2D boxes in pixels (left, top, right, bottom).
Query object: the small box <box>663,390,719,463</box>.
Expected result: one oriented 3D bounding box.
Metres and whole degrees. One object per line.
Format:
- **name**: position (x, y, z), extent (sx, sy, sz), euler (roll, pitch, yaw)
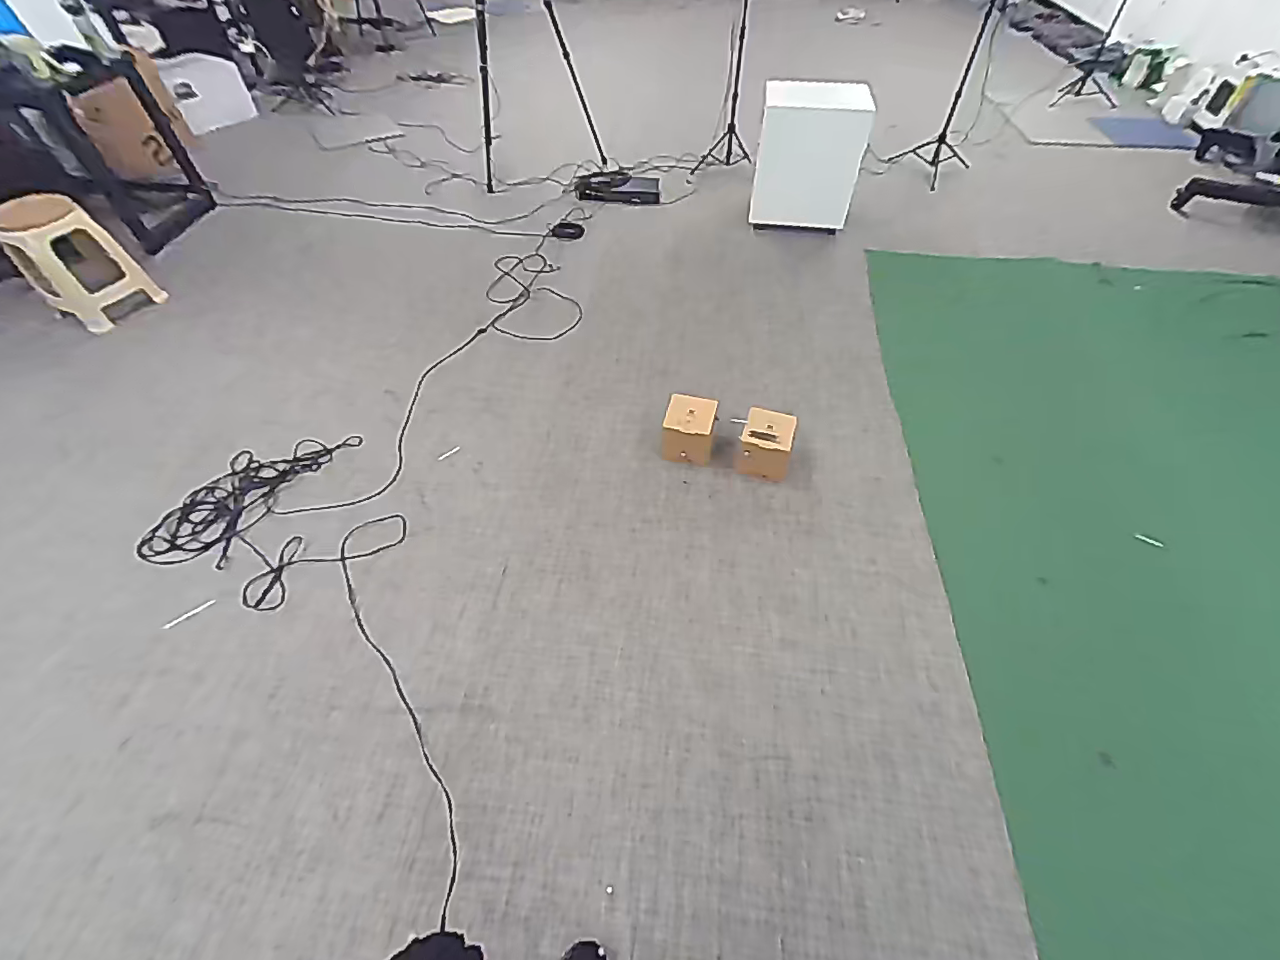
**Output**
- **small box**: position (0.178, -0.191, 1.934), extent (0.168, 0.176, 0.179), euler (12, 53, 10)
